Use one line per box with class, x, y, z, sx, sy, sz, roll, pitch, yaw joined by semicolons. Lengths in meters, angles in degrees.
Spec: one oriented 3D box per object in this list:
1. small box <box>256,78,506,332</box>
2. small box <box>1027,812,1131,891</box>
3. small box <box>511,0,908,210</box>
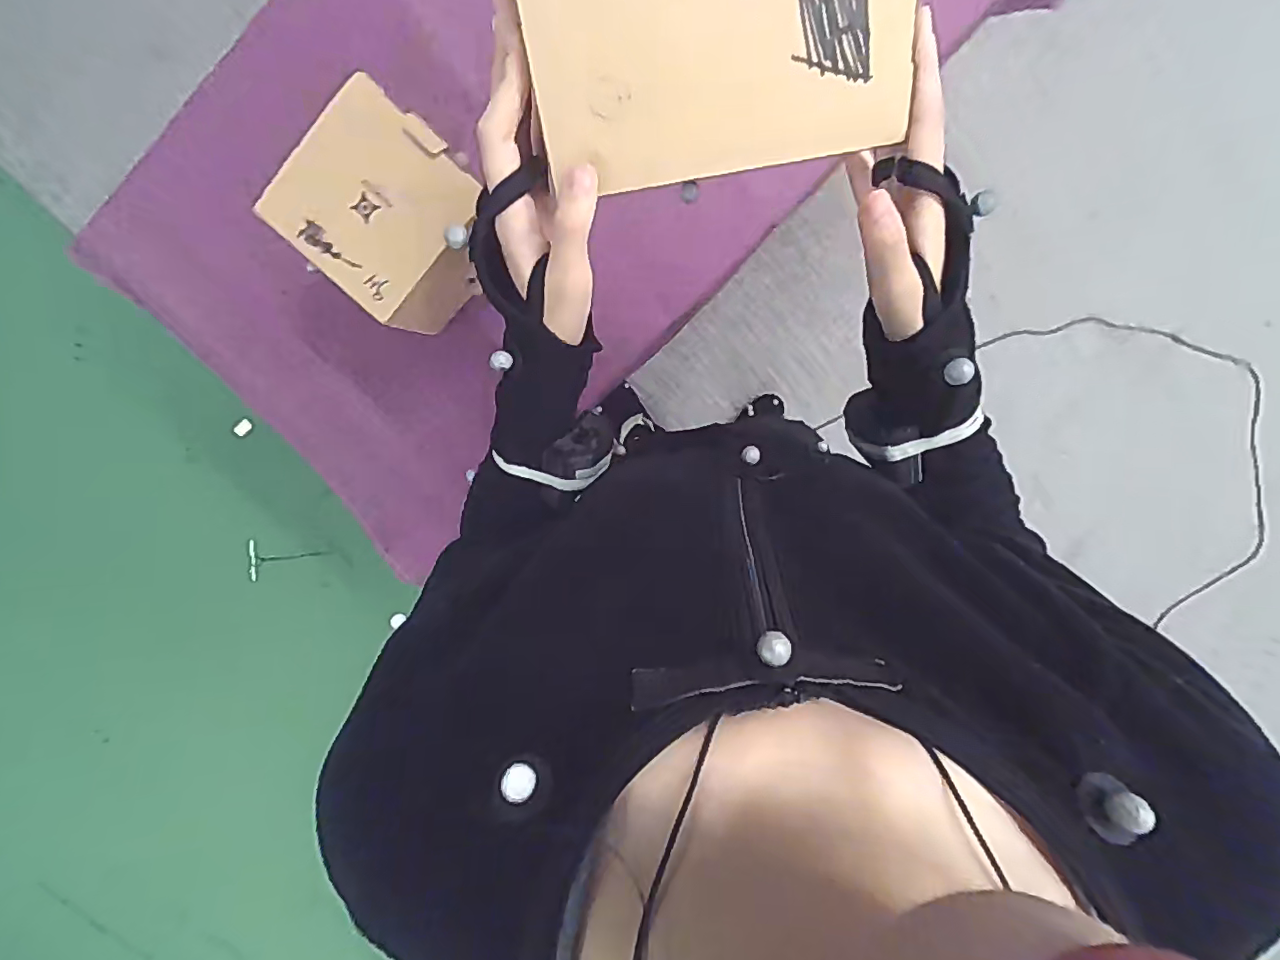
small box;-0.275;-0.294;0.626;0.168;0.176;0.179;43;97;-9
small box;1.335;1.159;1.636;0.168;0.176;0.179;41;100;-7
small box;0.022;-0.256;0.295;0.179;0.176;0.168;-10;121;-1
